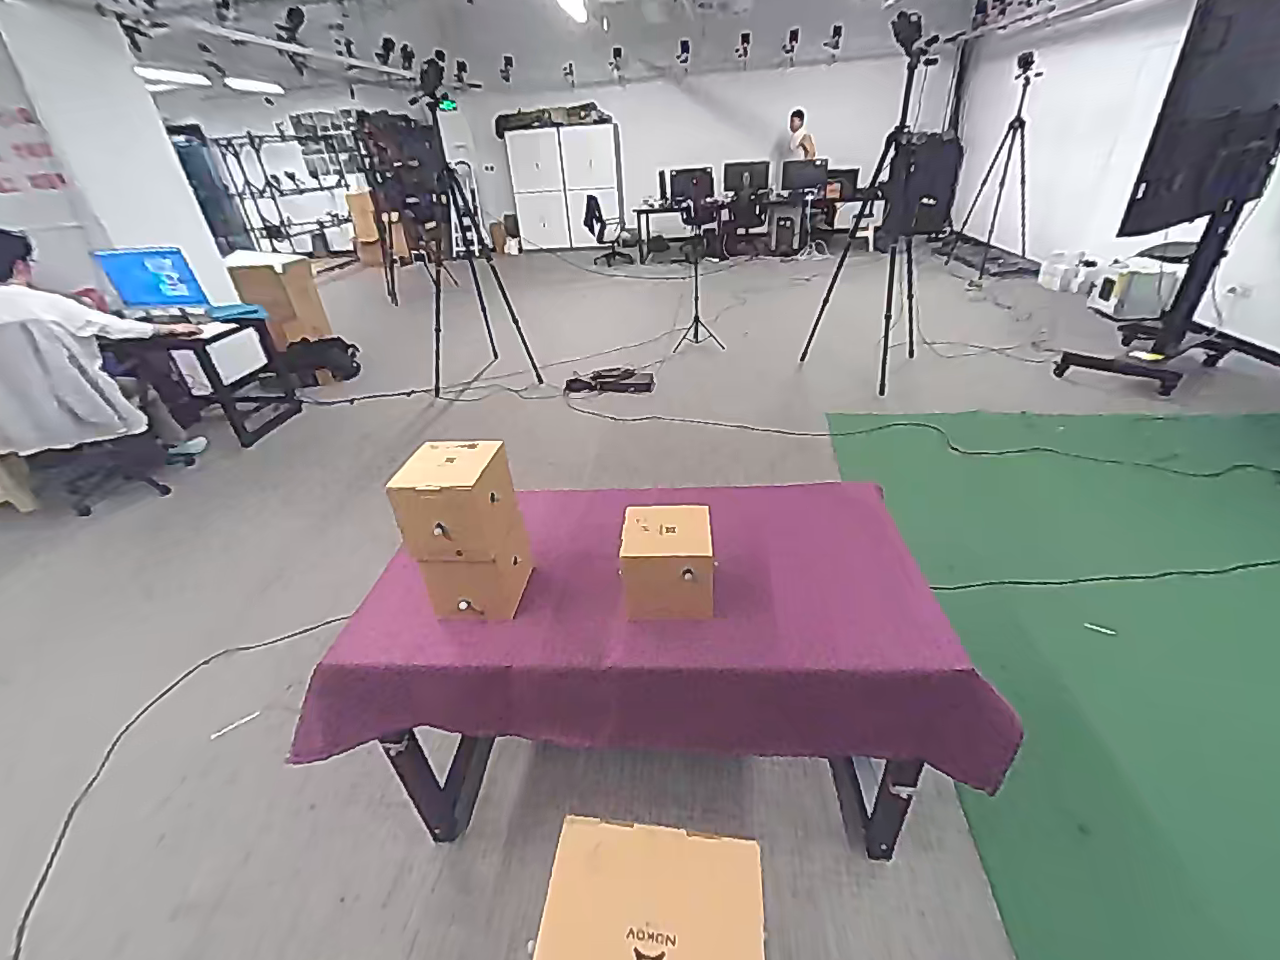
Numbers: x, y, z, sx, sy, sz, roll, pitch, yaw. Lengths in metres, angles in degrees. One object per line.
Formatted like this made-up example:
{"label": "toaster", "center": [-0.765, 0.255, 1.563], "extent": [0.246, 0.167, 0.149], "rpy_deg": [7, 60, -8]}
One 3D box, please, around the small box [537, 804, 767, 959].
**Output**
{"label": "small box", "center": [0.010, 0.403, 0.440], "extent": [0.168, 0.176, 0.179], "rpy_deg": [4, 38, 7]}

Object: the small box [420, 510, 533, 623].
{"label": "small box", "center": [-0.334, 0.179, 1.148], "extent": [0.168, 0.176, 0.179], "rpy_deg": [-1, 32, 7]}

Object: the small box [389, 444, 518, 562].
{"label": "small box", "center": [-0.350, 0.044, 1.056], "extent": [0.168, 0.176, 0.179], "rpy_deg": [0, 33, 7]}

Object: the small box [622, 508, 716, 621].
{"label": "small box", "center": [0.063, 0.173, 1.104], "extent": [0.179, 0.176, 0.168], "rpy_deg": [-2, 31, 6]}
